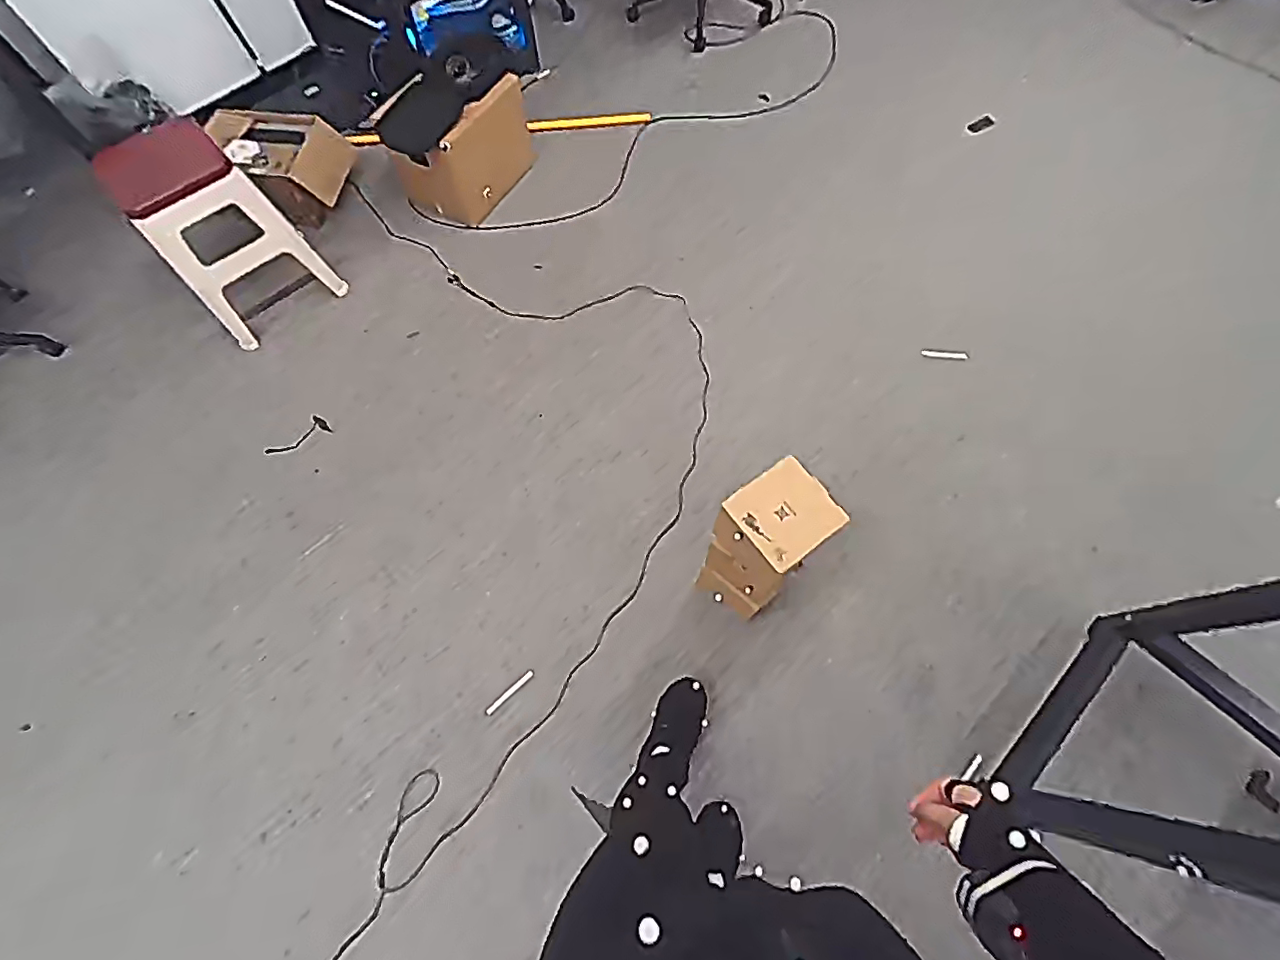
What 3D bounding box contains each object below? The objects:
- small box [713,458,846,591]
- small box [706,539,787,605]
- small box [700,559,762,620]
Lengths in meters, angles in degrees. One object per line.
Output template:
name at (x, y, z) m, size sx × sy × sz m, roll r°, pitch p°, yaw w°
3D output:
small box at (0.263, 0.093, 1.068) m, size 0.179 × 0.176 × 0.168 m, roll -34°, pitch 70°, yaw -14°
small box at (0.264, 0.157, 1.219) m, size 0.168 × 0.176 × 0.179 m, roll 37°, pitch 71°, yaw 15°
small box at (0.264, 0.227, 1.365) m, size 0.168 × 0.176 × 0.179 m, roll 40°, pitch 74°, yaw 17°
